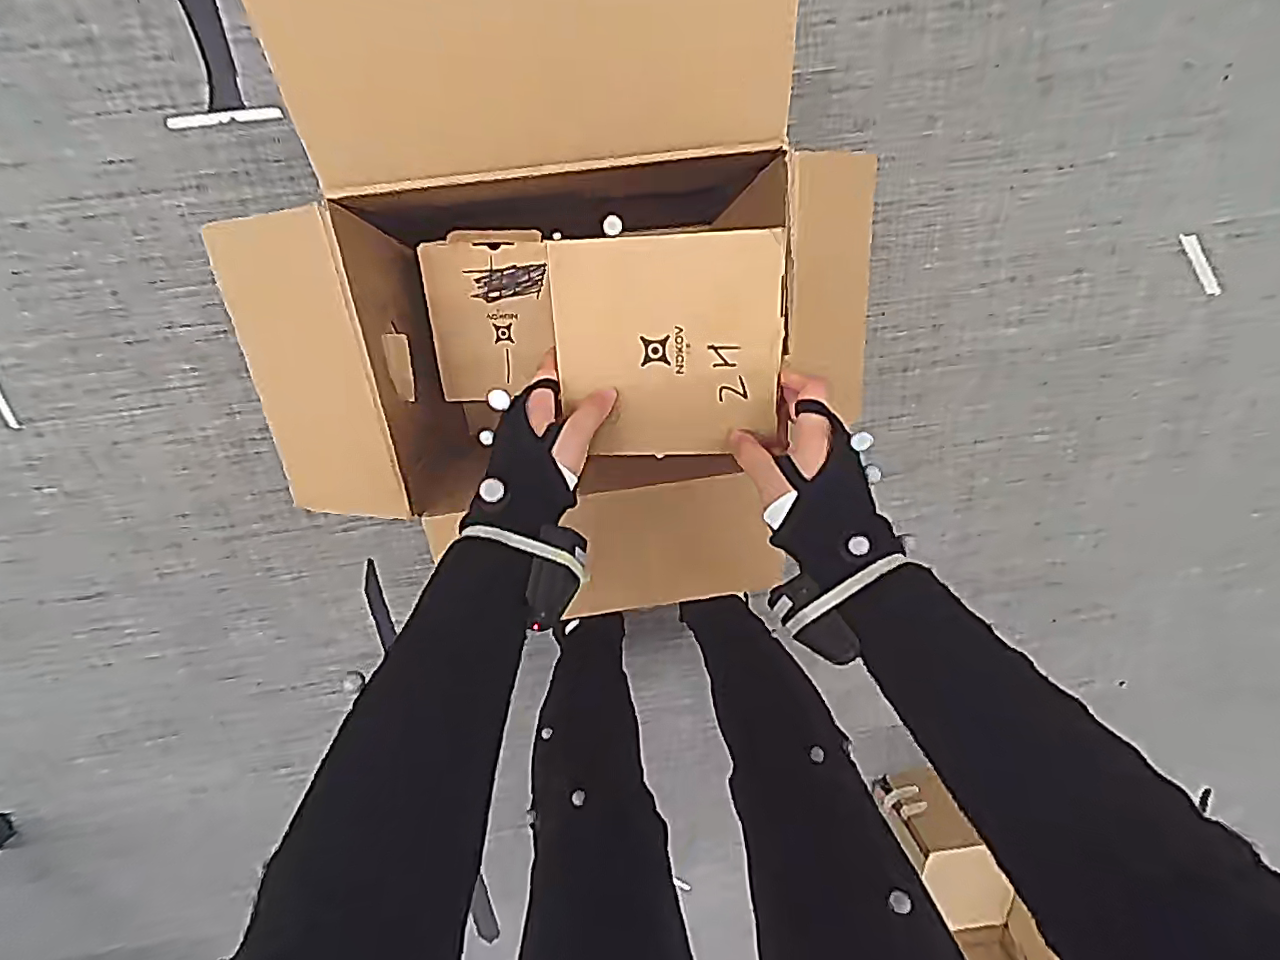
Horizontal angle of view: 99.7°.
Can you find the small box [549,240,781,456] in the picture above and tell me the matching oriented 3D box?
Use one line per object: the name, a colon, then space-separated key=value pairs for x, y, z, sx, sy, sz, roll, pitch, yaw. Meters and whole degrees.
small box: x=0.028 y=-0.125 z=0.501 sx=0.179 sy=0.176 sz=0.168 roll=0 pitch=110 yaw=7
